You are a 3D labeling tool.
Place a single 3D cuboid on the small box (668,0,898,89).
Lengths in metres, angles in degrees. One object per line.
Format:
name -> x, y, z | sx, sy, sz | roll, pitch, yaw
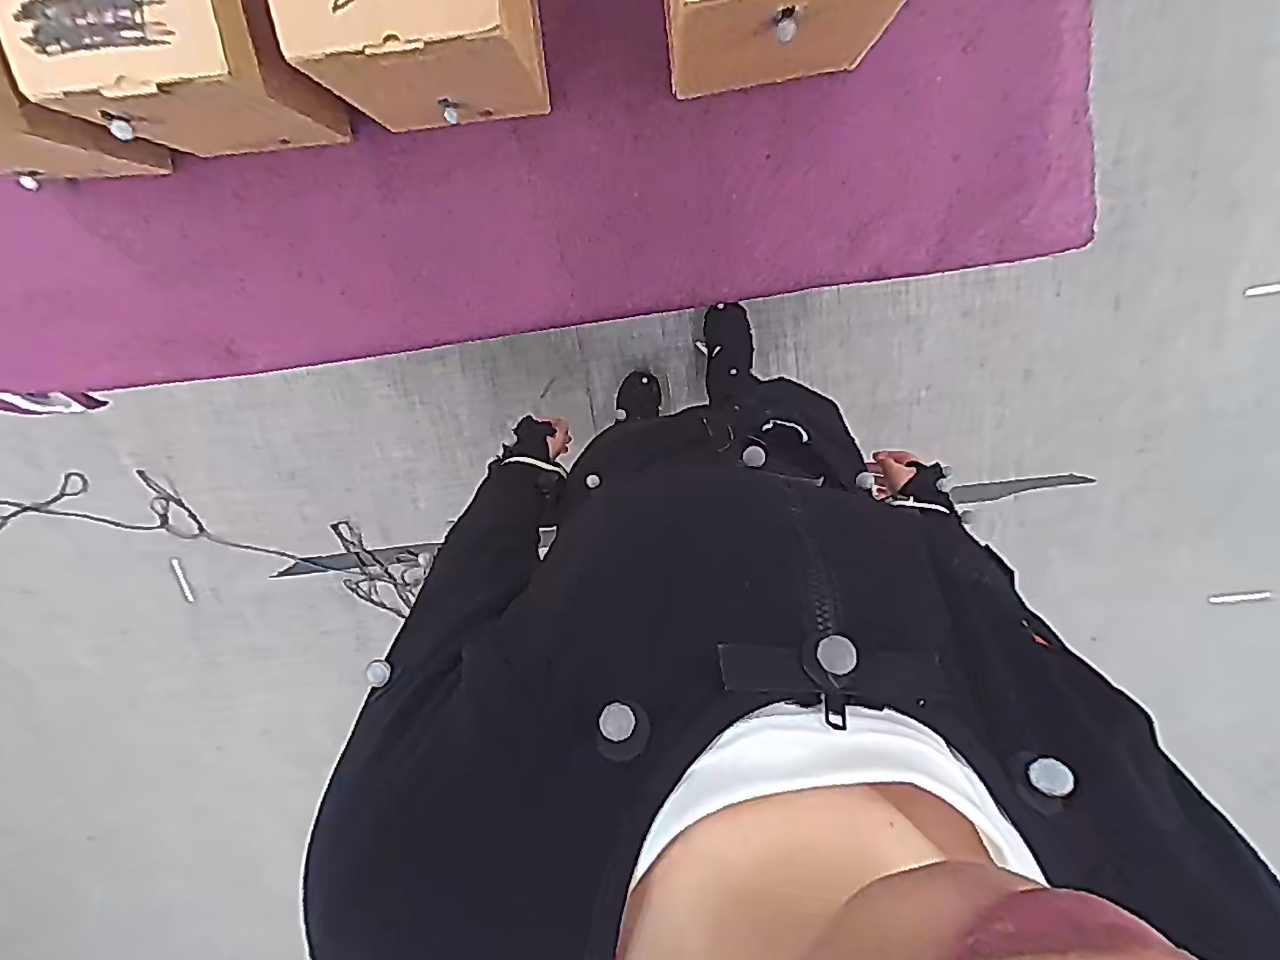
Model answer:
small box -> 0.107, -0.439, 0.418 | 0.179, 0.176, 0.168 | -7, 106, 6
